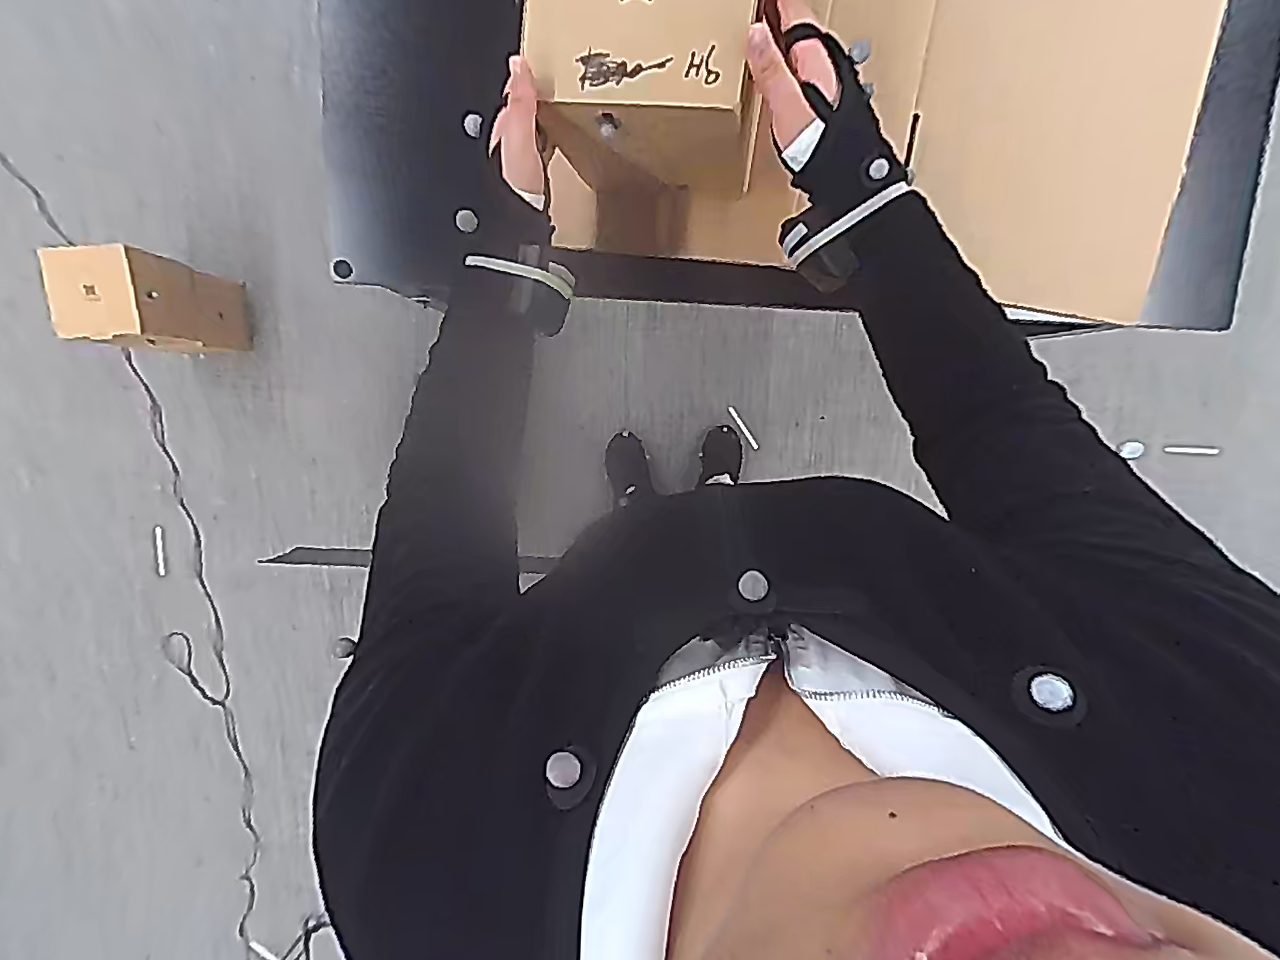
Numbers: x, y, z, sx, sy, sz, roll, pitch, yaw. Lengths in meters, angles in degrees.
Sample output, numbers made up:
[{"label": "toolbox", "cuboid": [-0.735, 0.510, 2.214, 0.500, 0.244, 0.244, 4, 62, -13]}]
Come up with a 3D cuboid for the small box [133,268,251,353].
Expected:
[{"label": "small box", "cuboid": [-1.086, -0.404, 1.306, 0.168, 0.176, 0.179, -1, 100, -1]}]

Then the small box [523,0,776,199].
[{"label": "small box", "cuboid": [0.021, -0.364, 0.452, 0.168, 0.176, 0.179, 10, 98, 12]}]

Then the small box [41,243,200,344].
[{"label": "small box", "cuboid": [-1.082, -0.384, 1.145, 0.168, 0.176, 0.179, -4, 98, -2]}]
